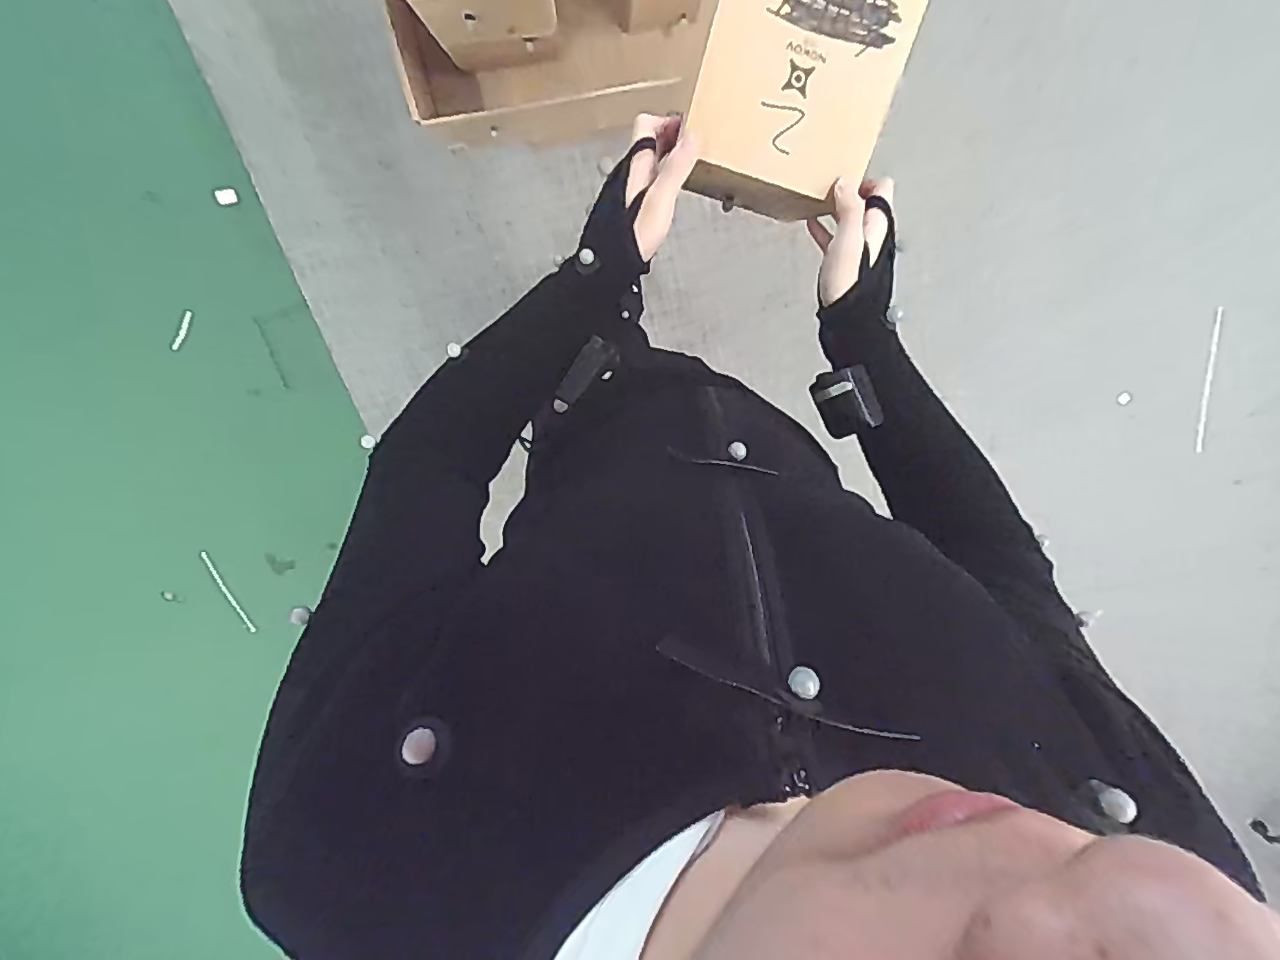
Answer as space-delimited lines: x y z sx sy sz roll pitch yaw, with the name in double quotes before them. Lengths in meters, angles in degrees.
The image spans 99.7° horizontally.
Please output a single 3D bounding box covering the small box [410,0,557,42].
"small box" -0.200 -0.673 0.665 0.168 0.176 0.179 -7 113 -1
